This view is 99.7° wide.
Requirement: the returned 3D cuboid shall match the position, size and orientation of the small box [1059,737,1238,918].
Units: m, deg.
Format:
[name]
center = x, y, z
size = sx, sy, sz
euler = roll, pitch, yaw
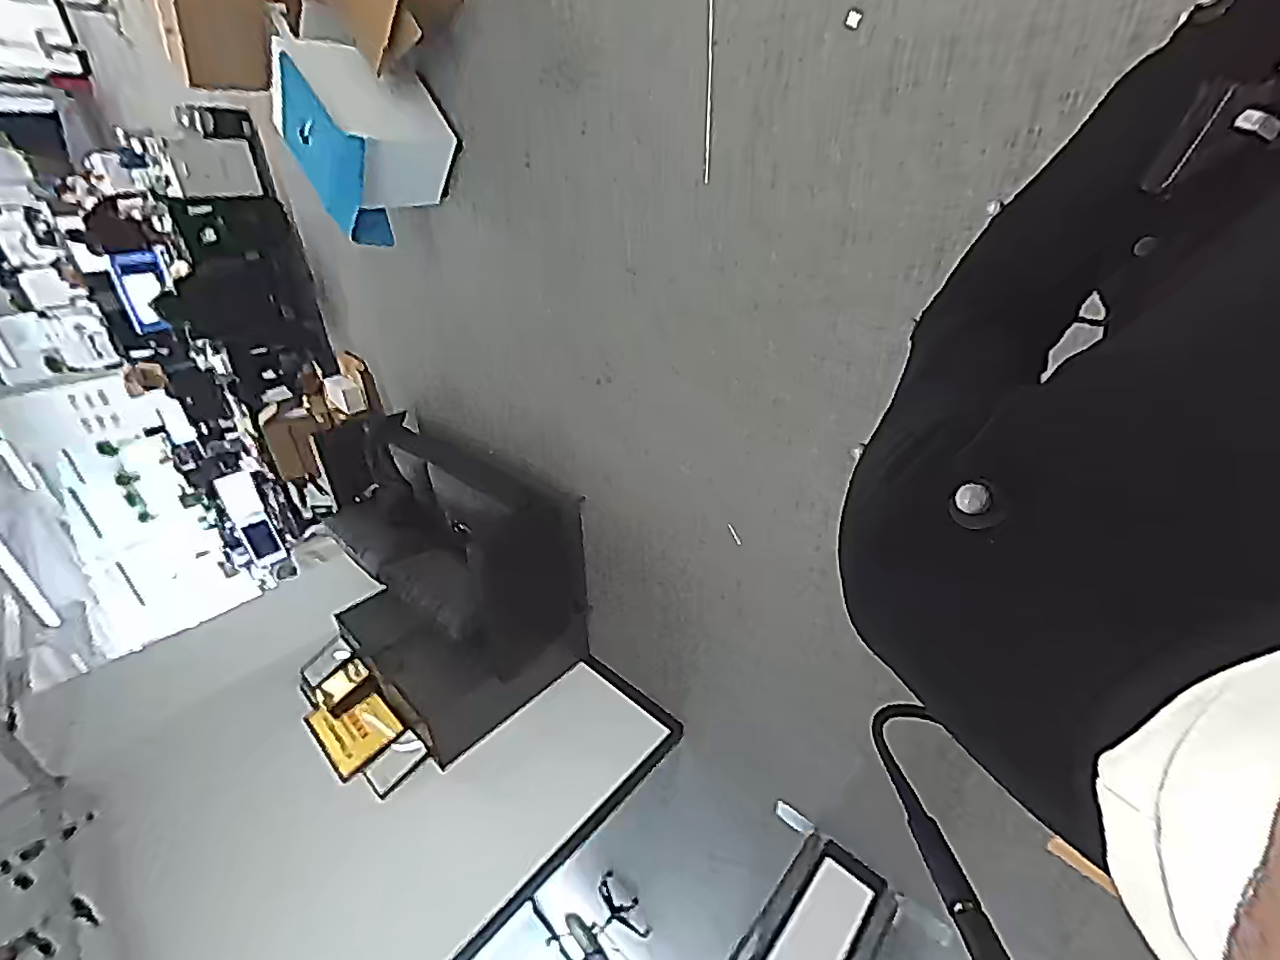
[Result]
[small box]
center = 0.882, 0.596, 0.946
size = 0.168, 0.176, 0.179
euler = 31, 132, 34
